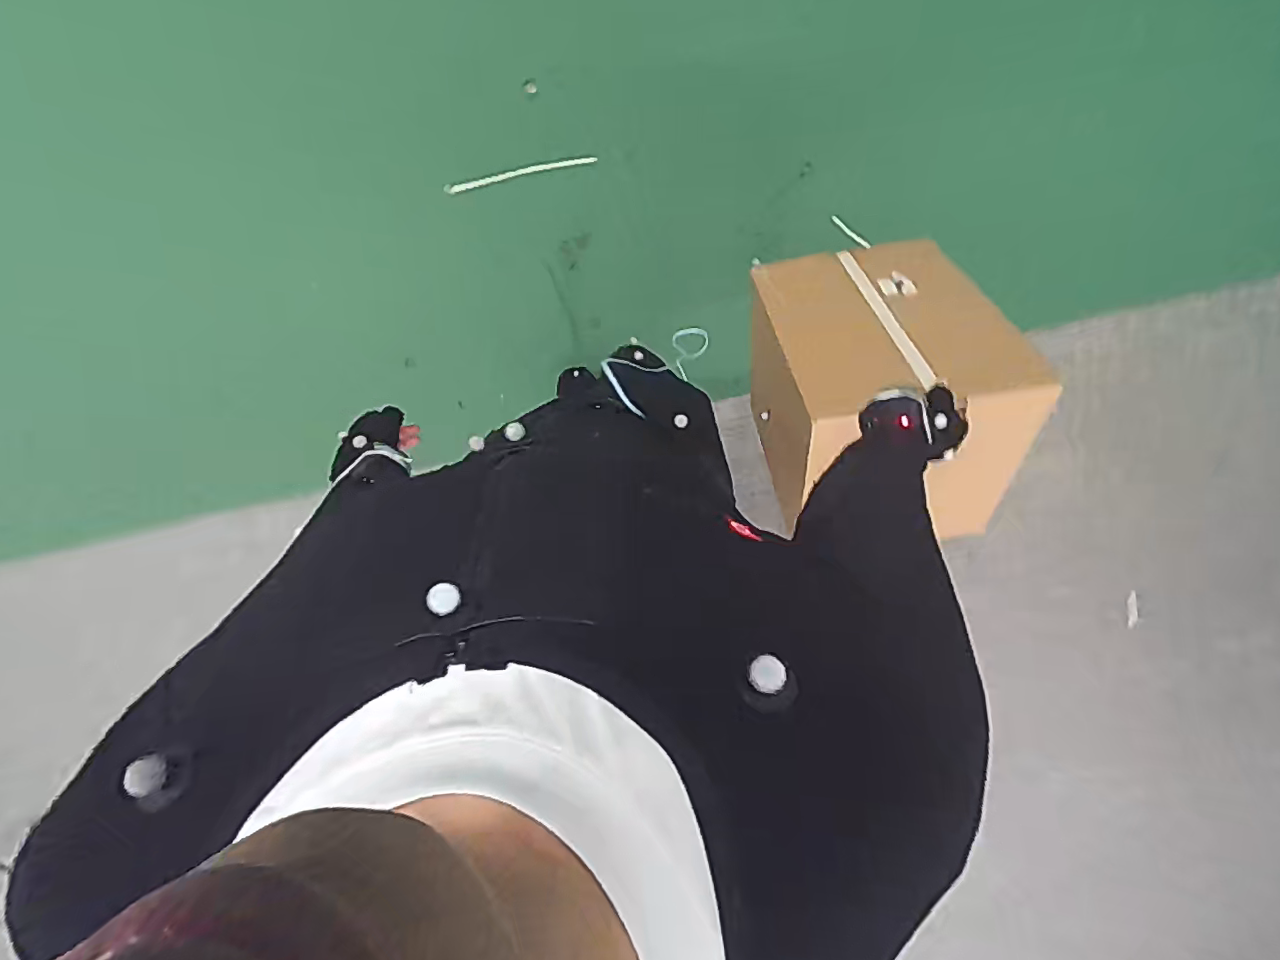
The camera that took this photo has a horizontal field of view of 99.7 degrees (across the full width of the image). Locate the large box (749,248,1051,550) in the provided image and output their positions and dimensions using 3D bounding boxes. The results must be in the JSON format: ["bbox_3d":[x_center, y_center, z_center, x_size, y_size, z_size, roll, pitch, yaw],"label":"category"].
[{"bbox_3d":[0.383,-0.143,0.934,0.320,0.408,0.320,-8,137,3],"label":"large box"}]
